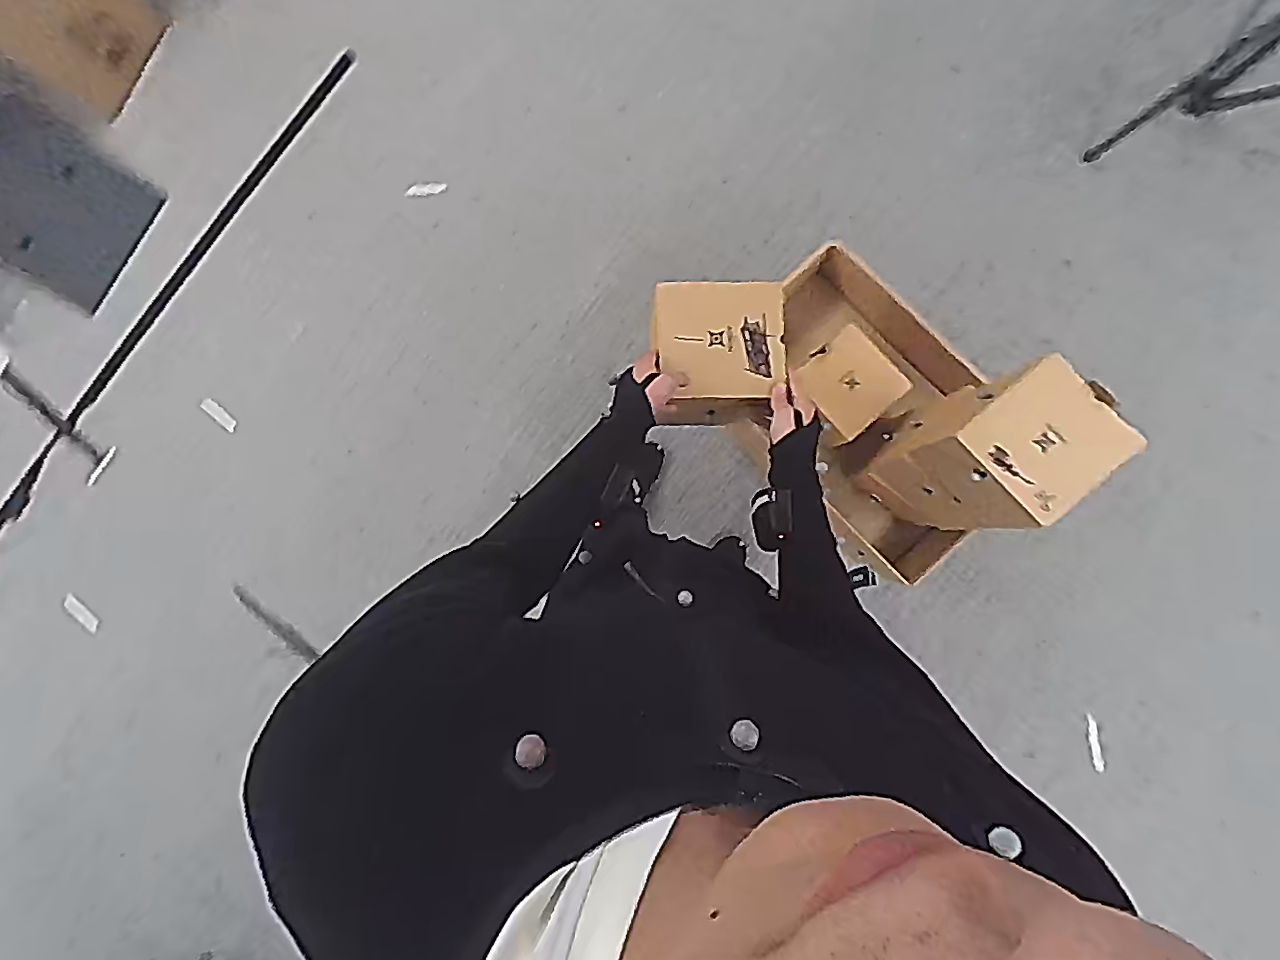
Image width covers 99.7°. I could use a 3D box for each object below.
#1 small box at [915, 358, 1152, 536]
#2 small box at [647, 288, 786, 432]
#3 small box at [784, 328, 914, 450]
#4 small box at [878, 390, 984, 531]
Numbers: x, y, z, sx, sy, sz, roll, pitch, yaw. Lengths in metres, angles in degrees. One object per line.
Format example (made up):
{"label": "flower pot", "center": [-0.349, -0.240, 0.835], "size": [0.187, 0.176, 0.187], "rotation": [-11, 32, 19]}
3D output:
{"label": "small box", "center": [0.539, -0.037, 0.772], "size": [0.179, 0.176, 0.168], "rotation": [-40, 82, 0]}
{"label": "small box", "center": [0.103, -0.168, 0.799], "size": [0.179, 0.176, 0.168], "rotation": [-1, 83, -1]}
{"label": "small box", "center": [0.418, -0.177, 1.124], "size": [0.168, 0.176, 0.179], "rotation": [-41, 84, 1]}
{"label": "small box", "center": [0.550, -0.022, 0.935], "size": [0.179, 0.176, 0.168], "rotation": [44, 91, 7]}
